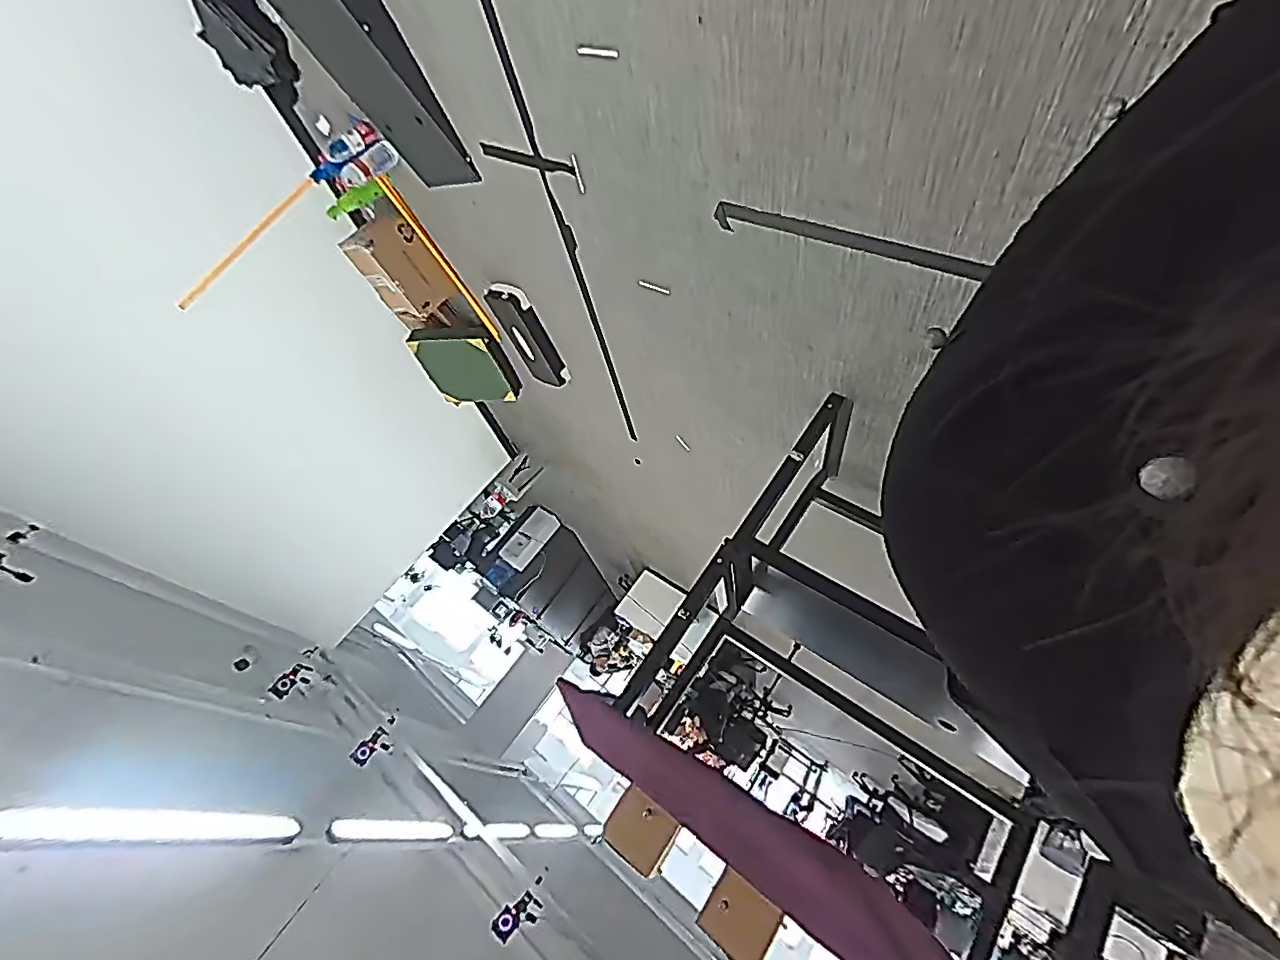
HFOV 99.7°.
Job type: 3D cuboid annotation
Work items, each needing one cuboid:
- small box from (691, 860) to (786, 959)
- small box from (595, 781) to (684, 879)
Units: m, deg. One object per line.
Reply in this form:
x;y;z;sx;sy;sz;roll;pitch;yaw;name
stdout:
0.262;1.133;1.414;0.179;0.176;0.168;26;157;31;small box
0.003;0.986;1.541;0.179;0.176;0.168;29;159;26;small box
